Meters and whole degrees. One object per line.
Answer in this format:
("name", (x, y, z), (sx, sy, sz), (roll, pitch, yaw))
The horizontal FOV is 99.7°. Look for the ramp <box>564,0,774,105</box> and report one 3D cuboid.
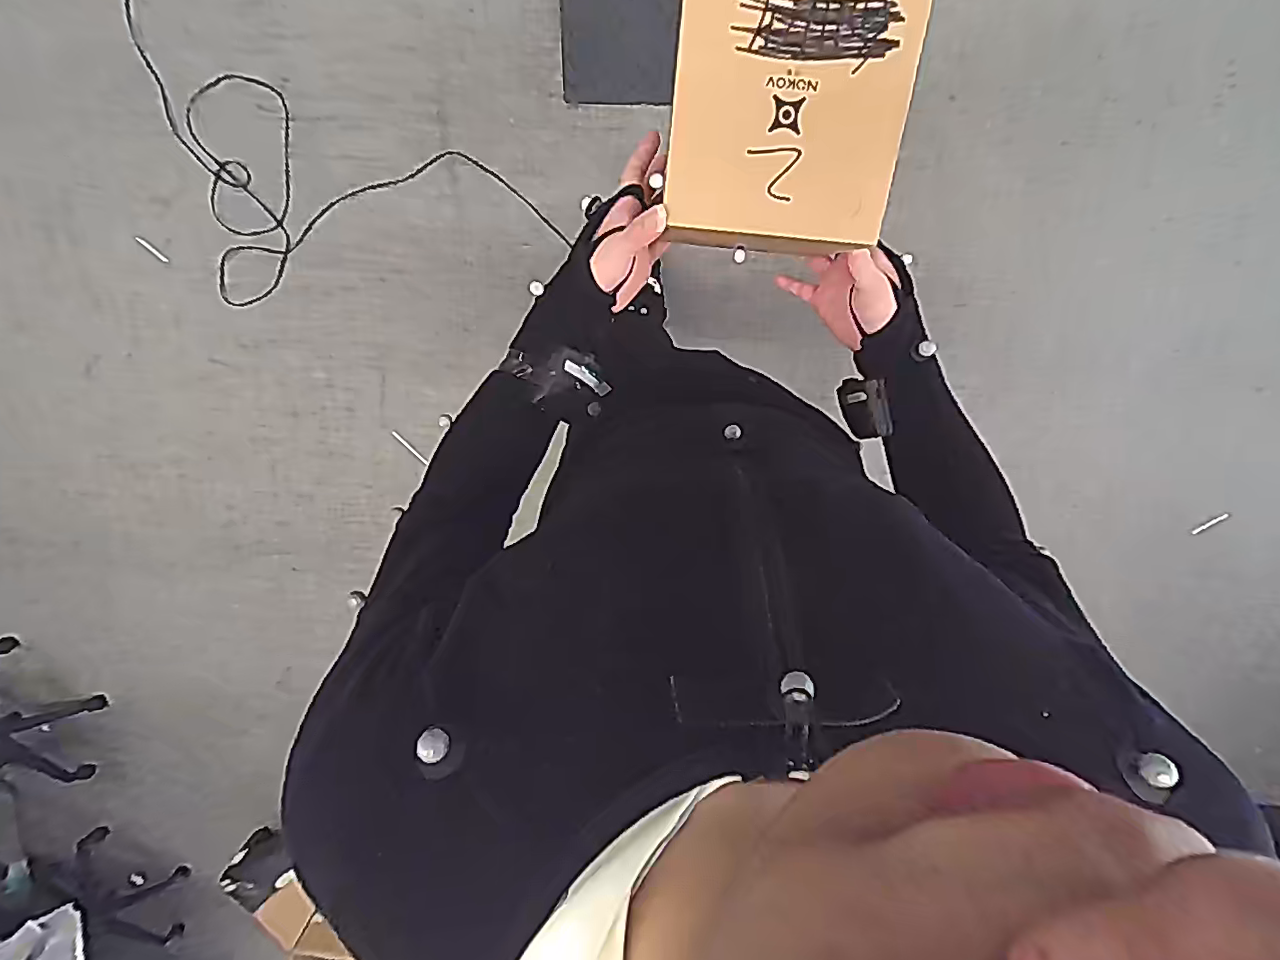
("ramp", (0.070, -1.379, 1.118), (0.509, 0.206, 0.991), (1, 108, 3))
